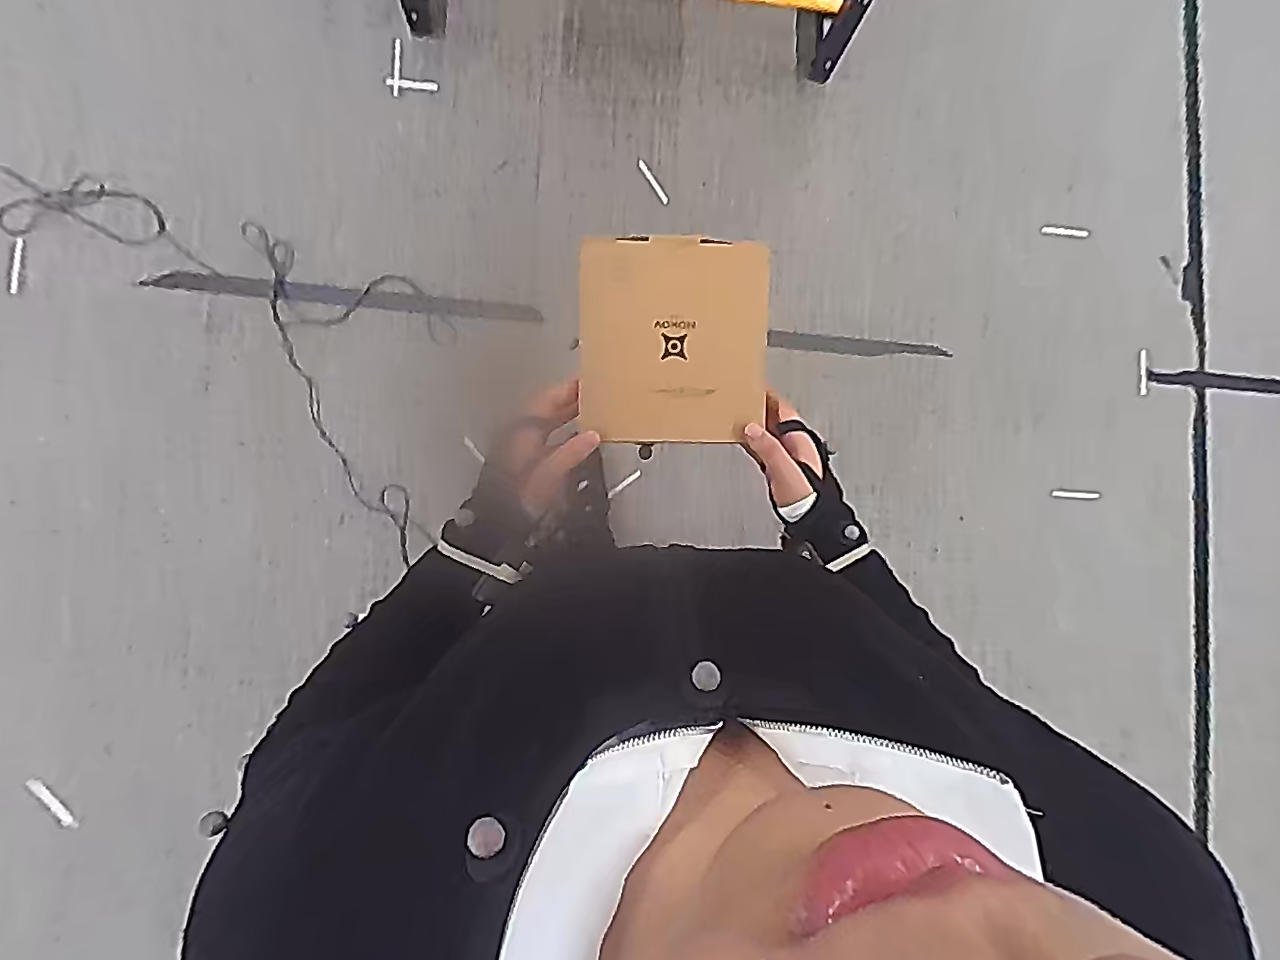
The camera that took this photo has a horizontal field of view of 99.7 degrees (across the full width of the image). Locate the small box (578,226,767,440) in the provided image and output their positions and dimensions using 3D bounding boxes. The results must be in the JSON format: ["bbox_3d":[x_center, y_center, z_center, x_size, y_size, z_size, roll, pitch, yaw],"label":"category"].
[{"bbox_3d":[0.021,-0.131,0.546,0.168,0.176,0.179,0,94,-5],"label":"small box"}]
